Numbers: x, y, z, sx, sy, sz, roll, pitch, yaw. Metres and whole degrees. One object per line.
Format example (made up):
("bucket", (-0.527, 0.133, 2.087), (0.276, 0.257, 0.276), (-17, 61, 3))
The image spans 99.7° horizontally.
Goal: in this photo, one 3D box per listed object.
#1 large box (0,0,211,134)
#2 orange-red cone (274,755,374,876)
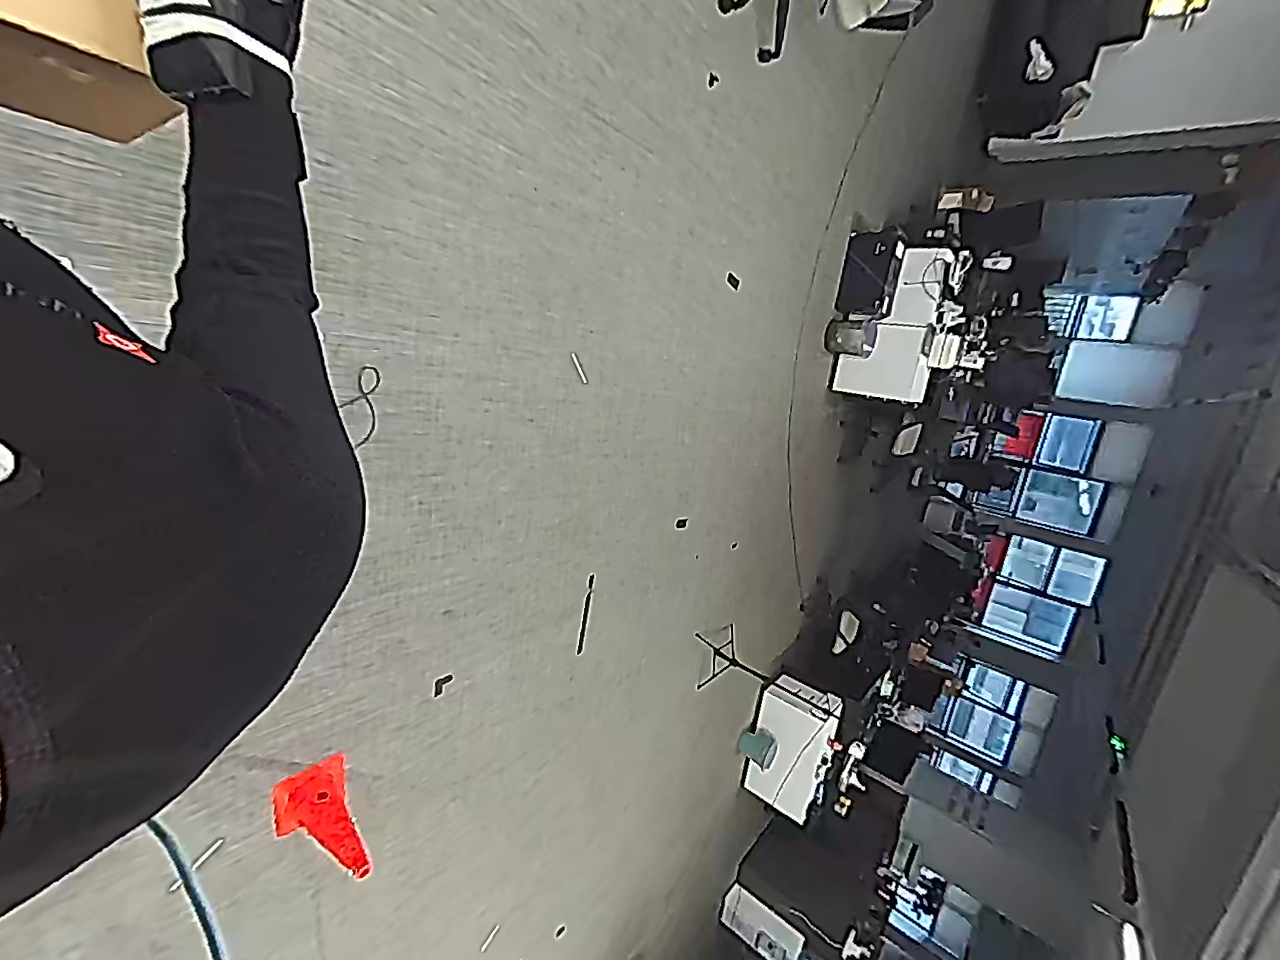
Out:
("large box", (-0.538, -0.456, 0.301), (0.408, 0.320, 0.320), (-7, 111, -52))
("orange-red cone", (-0.870, 1.002, 1.549), (0.198, 0.360, 0.199), (-12, 112, -51))
